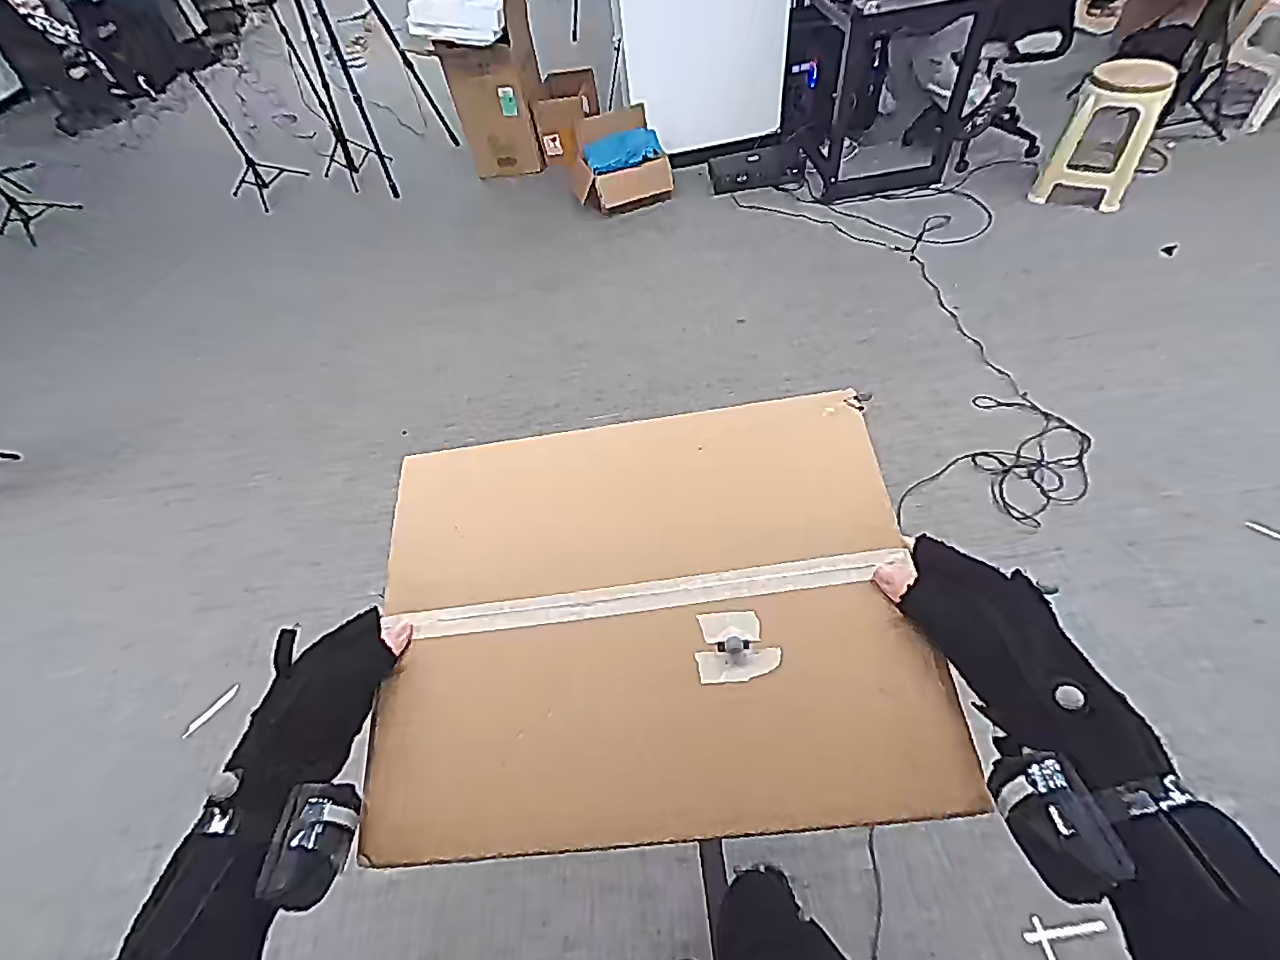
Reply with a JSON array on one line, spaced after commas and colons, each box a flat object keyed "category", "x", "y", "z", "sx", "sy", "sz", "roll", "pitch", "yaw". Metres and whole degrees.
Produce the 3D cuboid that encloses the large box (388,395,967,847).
[{"category": "large box", "x": 0.021, "y": 0.154, "z": 0.560, "sx": 0.408, "sy": 0.320, "sz": 0.320, "roll": -8, "pitch": 64, "yaw": 4}]
